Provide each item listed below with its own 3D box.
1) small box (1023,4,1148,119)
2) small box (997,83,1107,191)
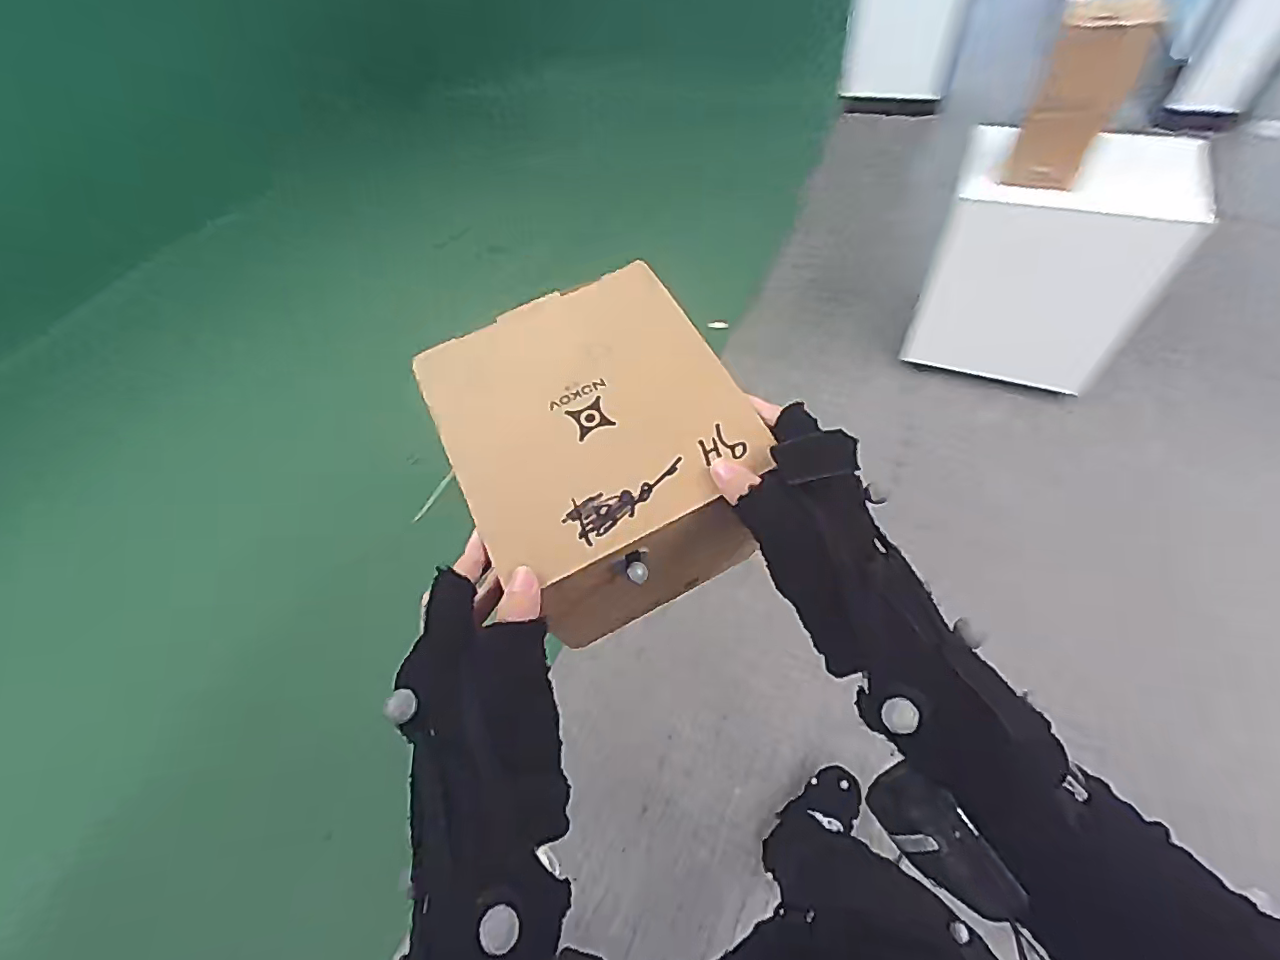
[{"bbox_3d":[0.992,-0.933,1.214,0.168,0.176,0.179,18,58,21],"label":"small box"},{"bbox_3d":[1.009,-0.846,1.334,0.168,0.176,0.179,16,60,19],"label":"small box"}]
